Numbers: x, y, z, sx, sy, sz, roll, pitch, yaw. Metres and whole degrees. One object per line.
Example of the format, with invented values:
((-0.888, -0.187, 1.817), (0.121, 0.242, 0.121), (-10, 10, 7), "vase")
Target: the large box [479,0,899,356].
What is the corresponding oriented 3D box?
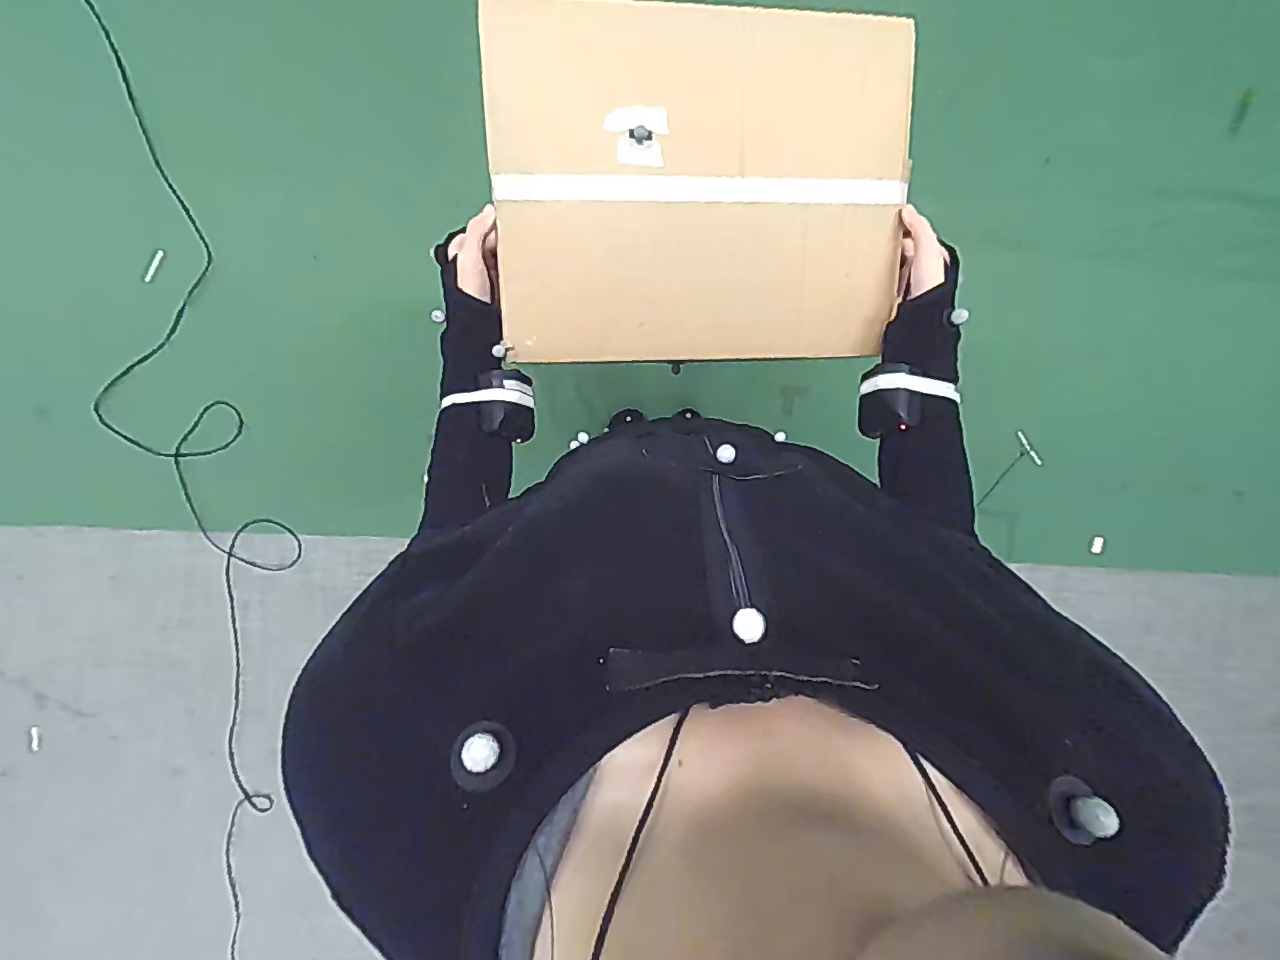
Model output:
((0.040, -0.321, 0.677), (0.408, 0.320, 0.320), (-2, 103, -6), "large box")
